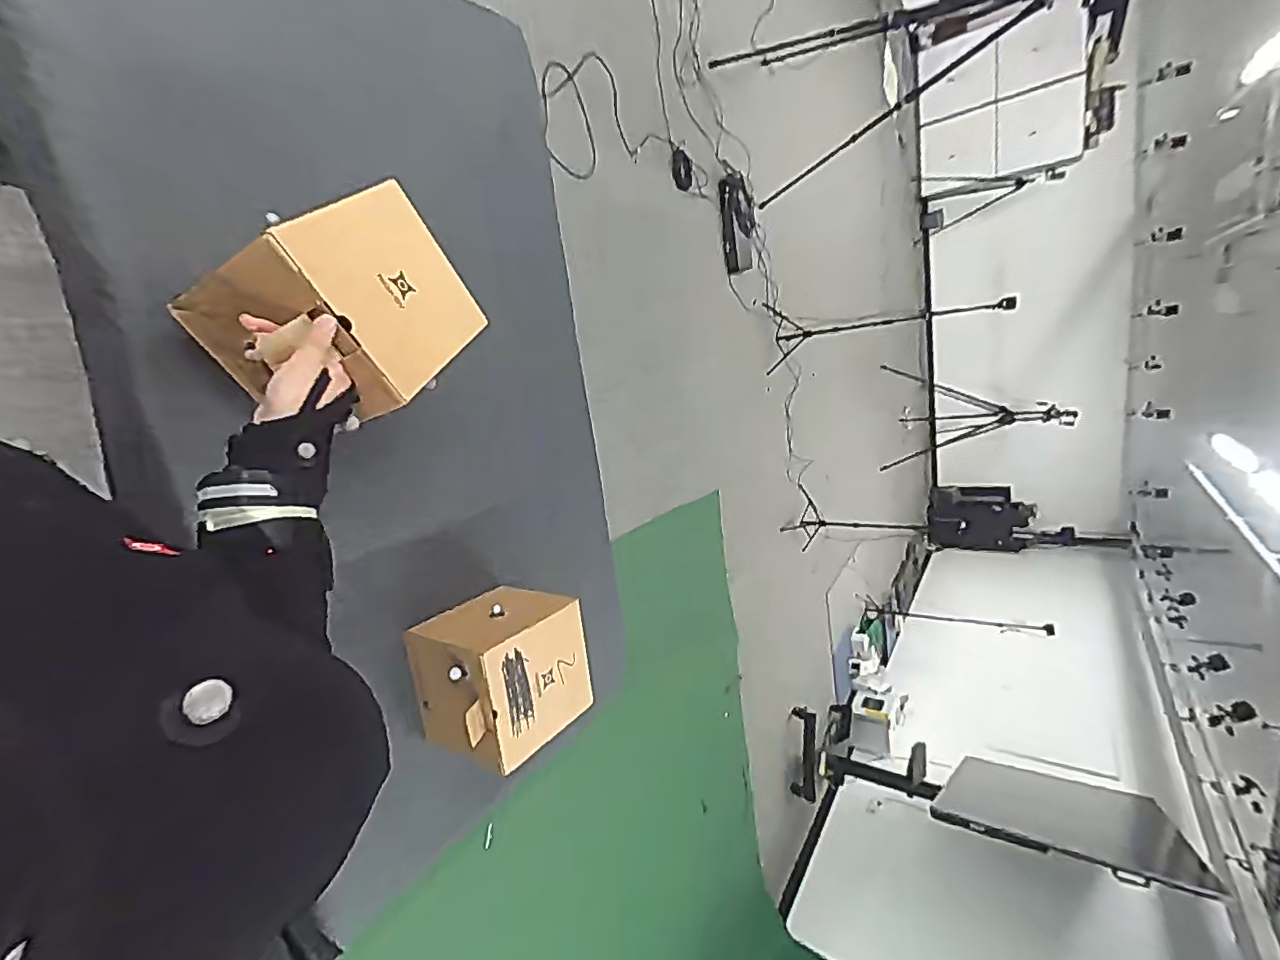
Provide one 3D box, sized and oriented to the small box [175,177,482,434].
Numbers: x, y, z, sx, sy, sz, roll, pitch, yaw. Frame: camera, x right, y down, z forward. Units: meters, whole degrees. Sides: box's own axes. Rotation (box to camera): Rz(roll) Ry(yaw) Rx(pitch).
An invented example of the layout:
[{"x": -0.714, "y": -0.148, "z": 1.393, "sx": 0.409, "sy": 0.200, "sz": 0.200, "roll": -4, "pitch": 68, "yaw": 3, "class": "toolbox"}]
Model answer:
[{"x": -0.303, "y": -0.172, "z": 0.549, "sx": 0.168, "sy": 0.176, "sz": 0.179, "roll": 59, "pitch": 32, "yaw": -32, "class": "small box"}]
